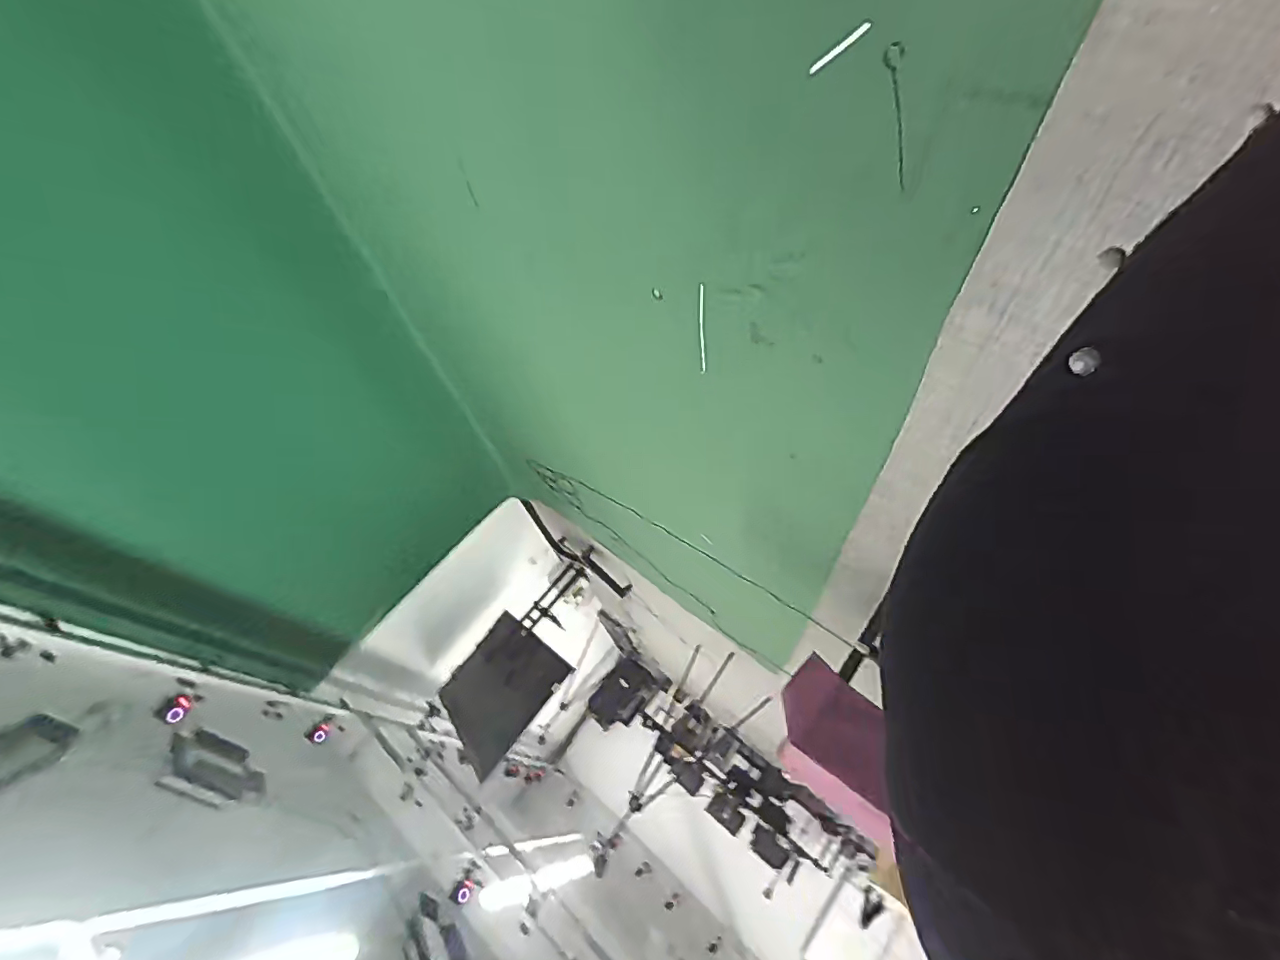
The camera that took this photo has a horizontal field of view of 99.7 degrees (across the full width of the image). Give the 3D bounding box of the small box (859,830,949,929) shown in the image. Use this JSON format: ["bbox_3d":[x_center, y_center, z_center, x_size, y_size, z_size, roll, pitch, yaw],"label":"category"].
[{"bbox_3d":[0.793,1.188,1.622,0.168,0.176,0.179,33,159,24],"label":"small box"}]
